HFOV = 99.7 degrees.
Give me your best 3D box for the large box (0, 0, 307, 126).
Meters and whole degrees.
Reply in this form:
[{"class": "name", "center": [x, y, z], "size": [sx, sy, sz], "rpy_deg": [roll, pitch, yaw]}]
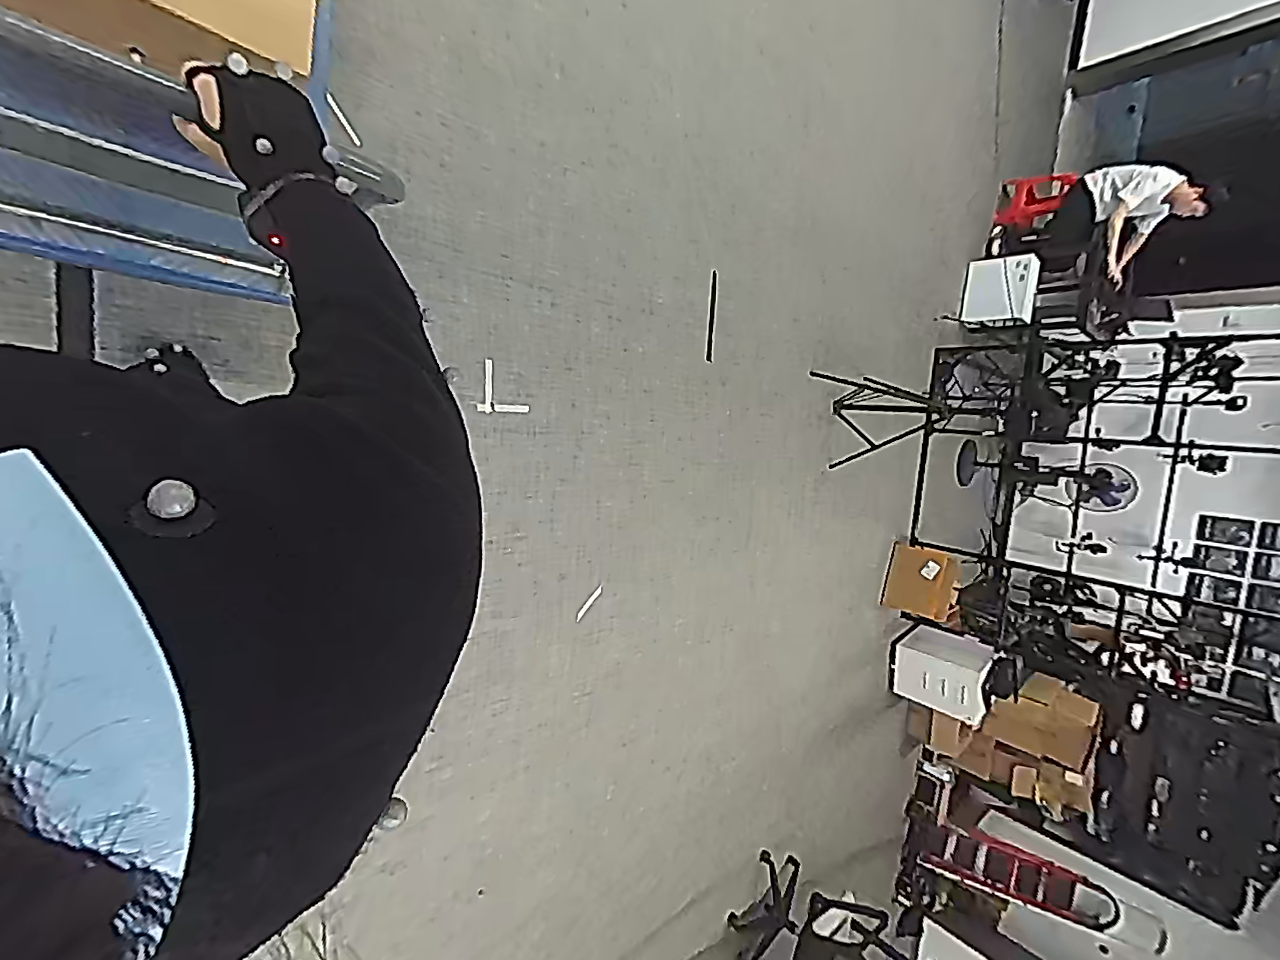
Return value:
[{"class": "large box", "center": [-0.755, -0.823, 0.812], "size": [0.408, 0.320, 0.320], "rpy_deg": [3, 95, -42]}]
